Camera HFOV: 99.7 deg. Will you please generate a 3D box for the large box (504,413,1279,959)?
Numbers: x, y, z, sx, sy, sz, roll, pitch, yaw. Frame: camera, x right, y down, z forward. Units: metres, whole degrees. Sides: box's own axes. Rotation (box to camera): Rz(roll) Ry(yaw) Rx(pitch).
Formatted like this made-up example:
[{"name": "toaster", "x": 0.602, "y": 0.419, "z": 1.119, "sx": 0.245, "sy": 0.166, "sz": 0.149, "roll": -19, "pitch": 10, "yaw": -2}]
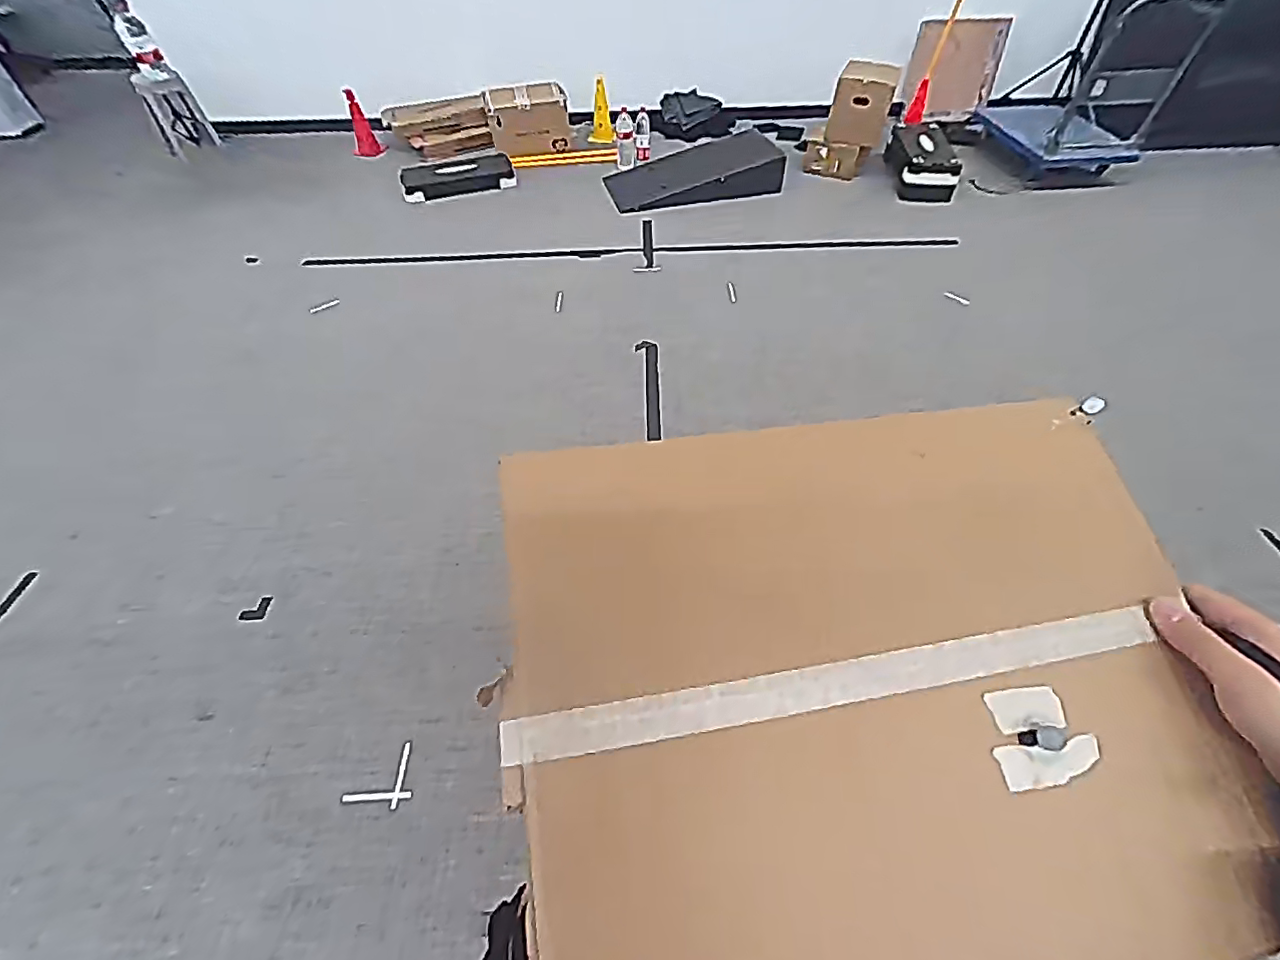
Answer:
[{"name": "large box", "x": 0.119, "y": 0.173, "z": 0.445, "sx": 0.408, "sy": 0.320, "sz": 0.320, "roll": -7, "pitch": 68, "yaw": -10}]
